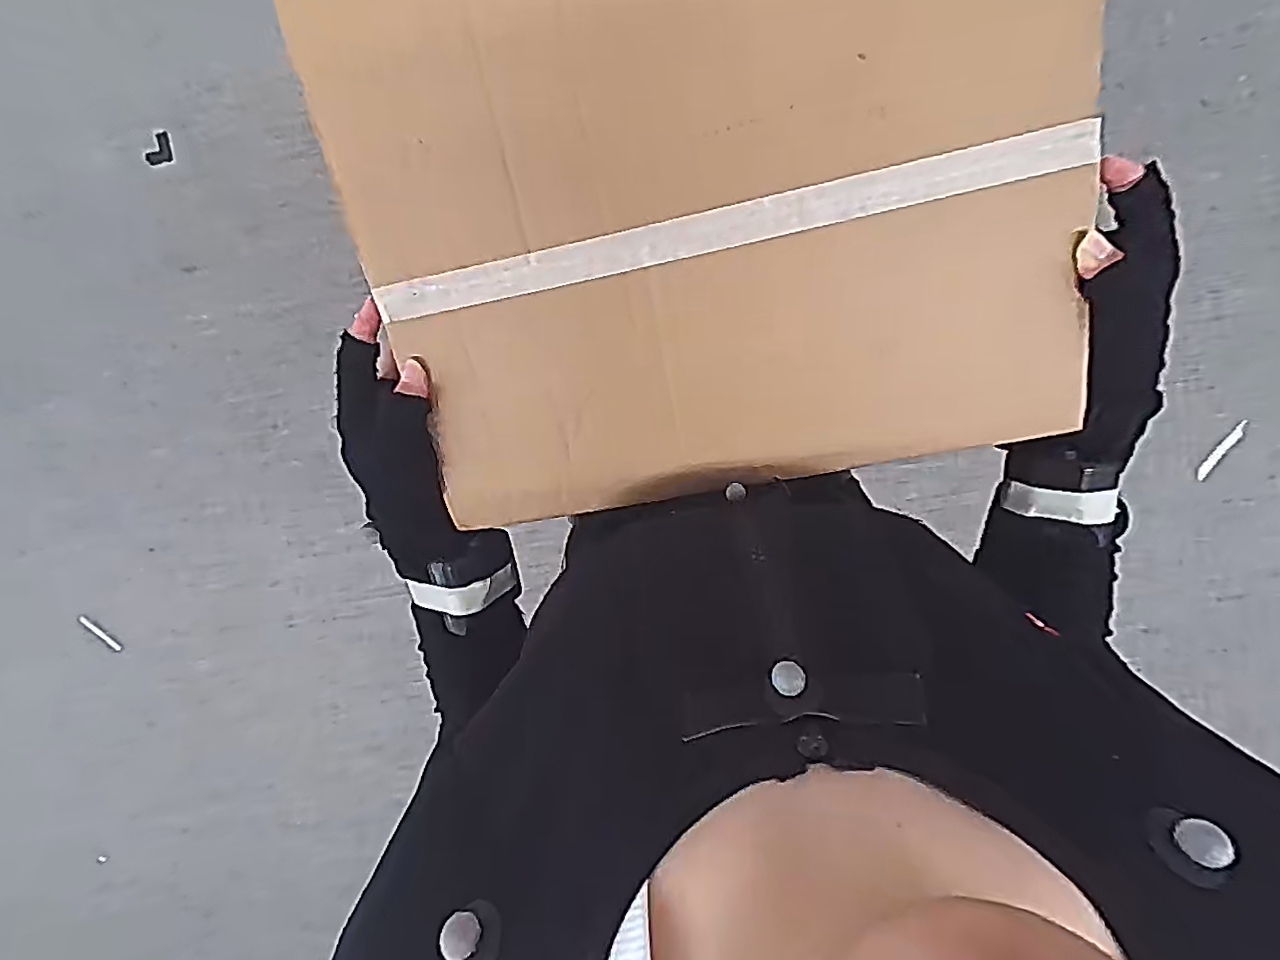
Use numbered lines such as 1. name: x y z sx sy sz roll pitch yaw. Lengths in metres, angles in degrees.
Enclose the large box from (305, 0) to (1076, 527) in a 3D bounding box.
1. large box: 0.048 -0.191 0.457 0.408 0.320 0.320 -9 108 7
